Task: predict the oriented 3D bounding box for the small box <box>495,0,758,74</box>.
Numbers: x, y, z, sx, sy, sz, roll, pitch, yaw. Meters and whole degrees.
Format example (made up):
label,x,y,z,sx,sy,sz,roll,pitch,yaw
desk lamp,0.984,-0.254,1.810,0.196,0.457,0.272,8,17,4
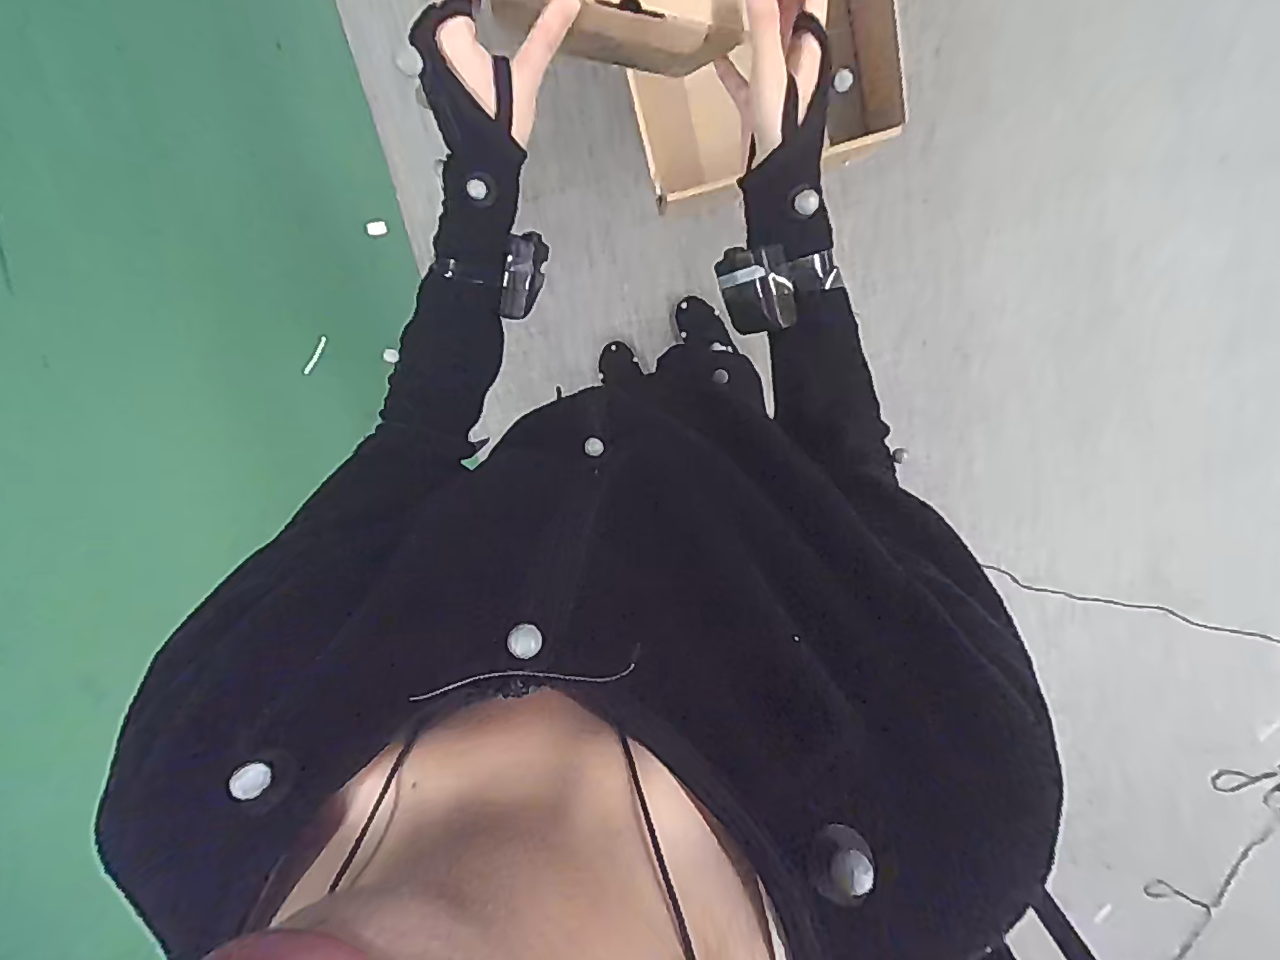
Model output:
label,x,y,z,sx,sy,sz,roll,pitch,yaw
small box,-0.011,-0.401,0.362,0.168,0.176,0.179,1,118,-16
